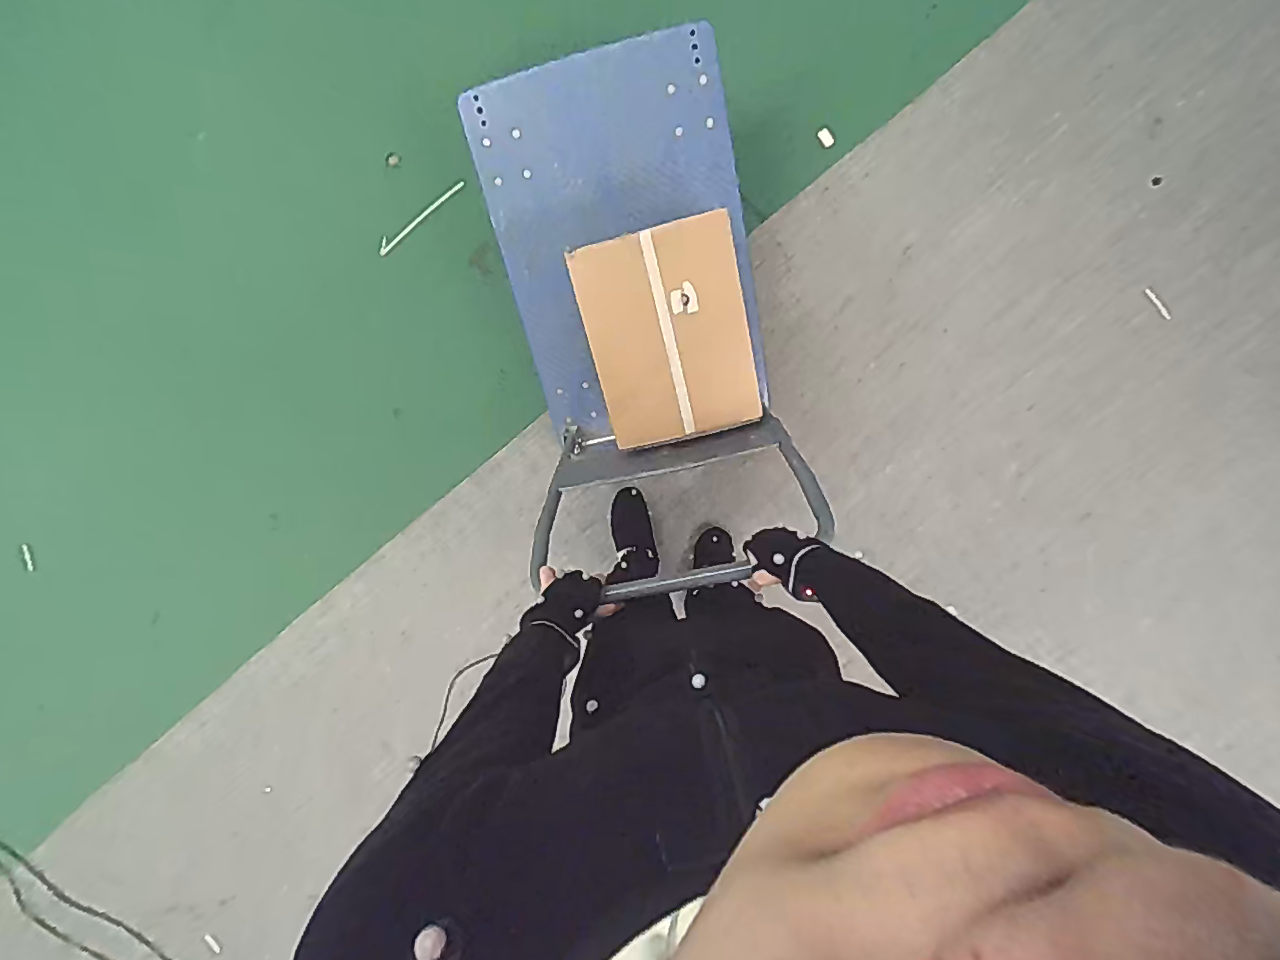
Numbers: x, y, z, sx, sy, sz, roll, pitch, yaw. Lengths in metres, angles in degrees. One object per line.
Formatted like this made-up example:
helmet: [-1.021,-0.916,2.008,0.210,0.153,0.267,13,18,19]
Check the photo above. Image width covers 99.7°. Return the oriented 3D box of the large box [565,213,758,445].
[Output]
large box: [0.059,-0.338,1.226,0.320,0.320,0.408,-13,110,7]
